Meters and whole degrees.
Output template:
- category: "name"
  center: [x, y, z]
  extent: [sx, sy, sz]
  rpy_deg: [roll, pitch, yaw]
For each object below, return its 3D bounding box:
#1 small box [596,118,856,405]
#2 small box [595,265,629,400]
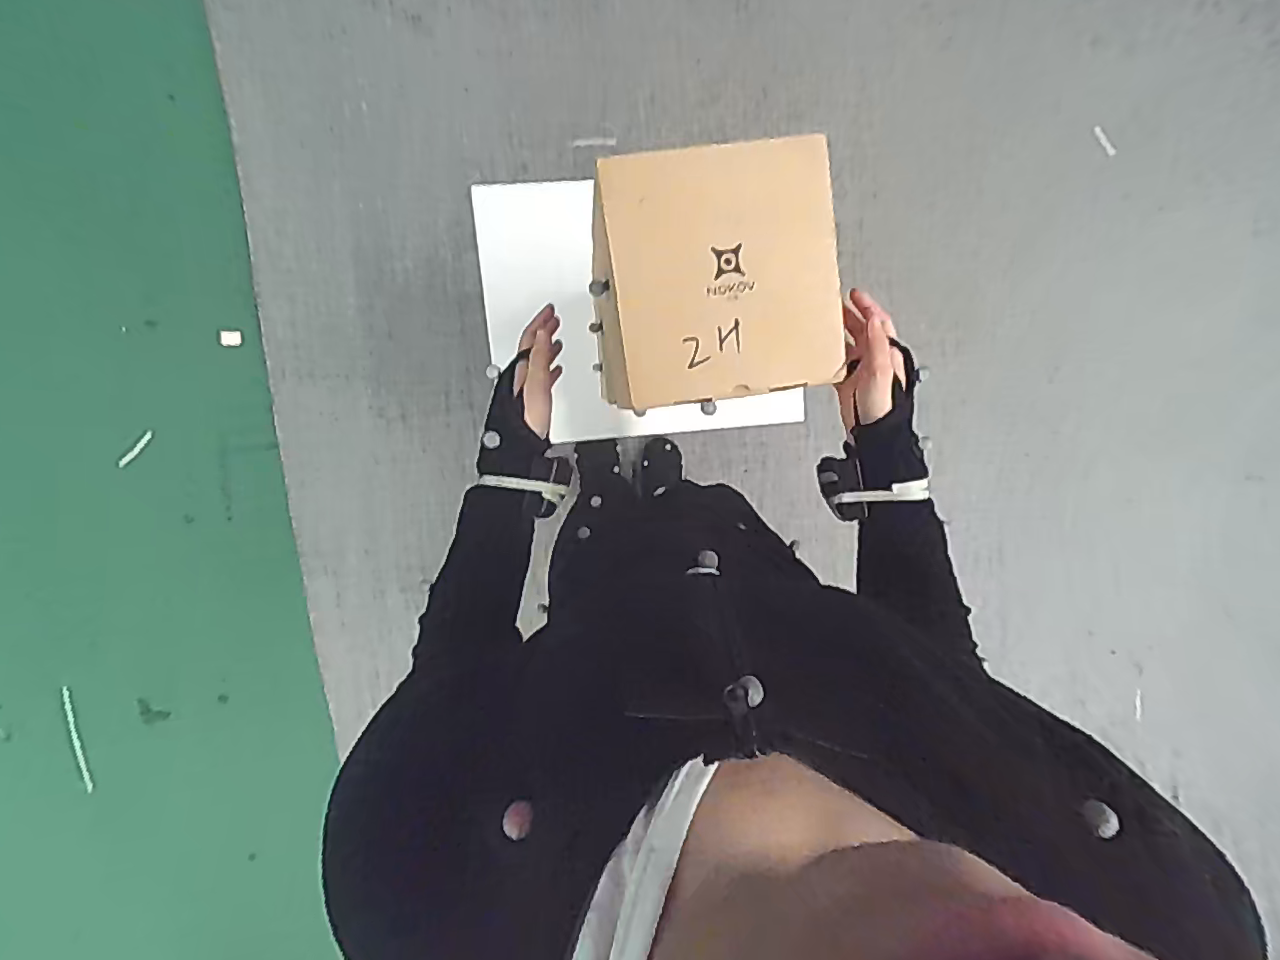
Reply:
- category: "small box"
  center: [0.056, -0.160, 0.452]
  extent: [0.168, 0.176, 0.179]
  rpy_deg: [-9, 98, -4]
- category: "small box"
  center: [0.025, -0.211, 0.776]
  extent: [0.168, 0.176, 0.179]
  rpy_deg: [-6, 98, -5]
